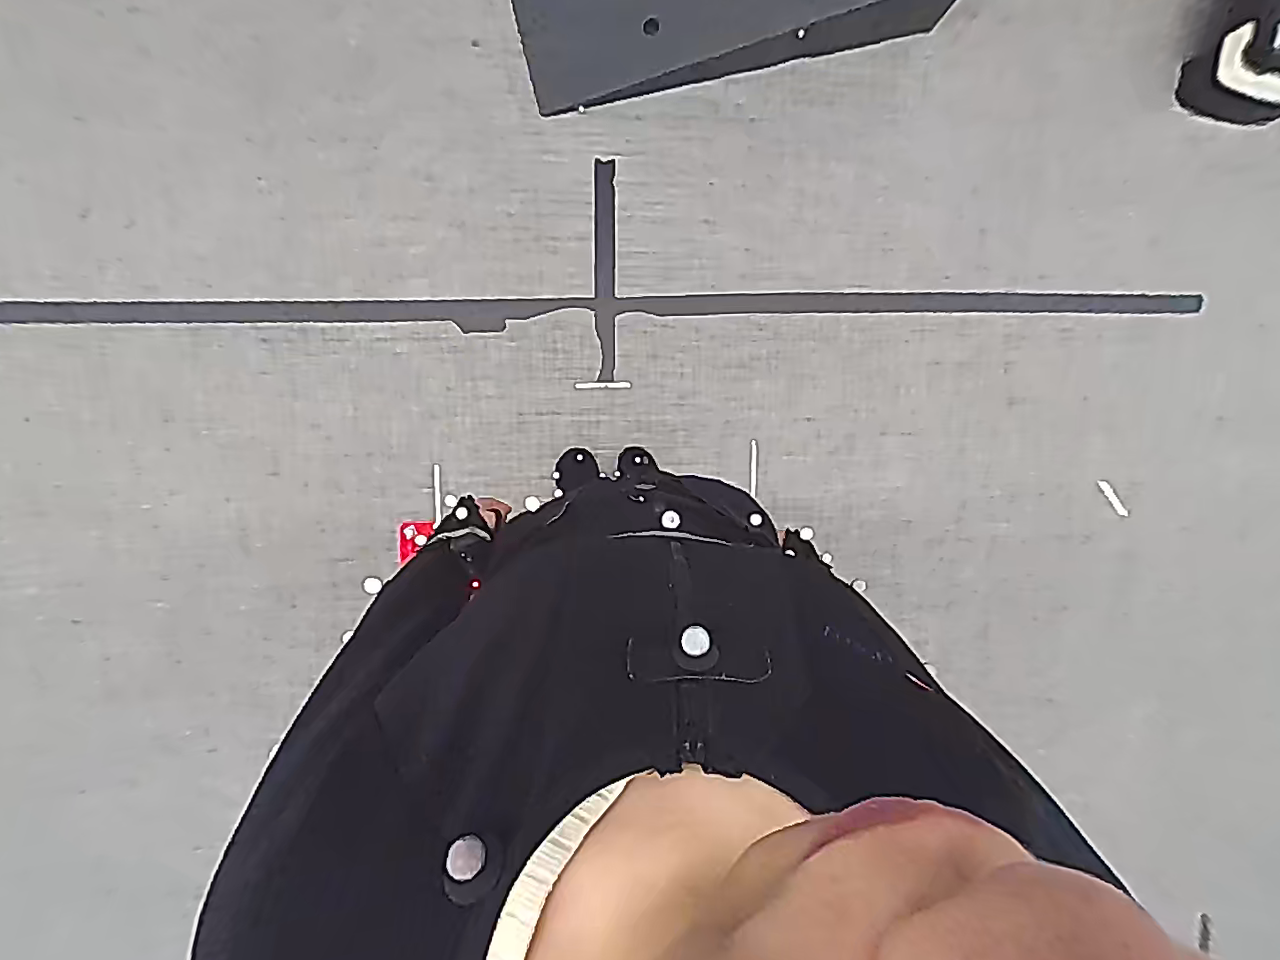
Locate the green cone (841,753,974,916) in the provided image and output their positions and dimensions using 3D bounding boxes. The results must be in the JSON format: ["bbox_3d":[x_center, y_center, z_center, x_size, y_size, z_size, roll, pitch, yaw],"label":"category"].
[{"bbox_3d":[0.674,0.884,1.326,0.200,0.368,0.202,-11,98,-3],"label":"green cone"}]
